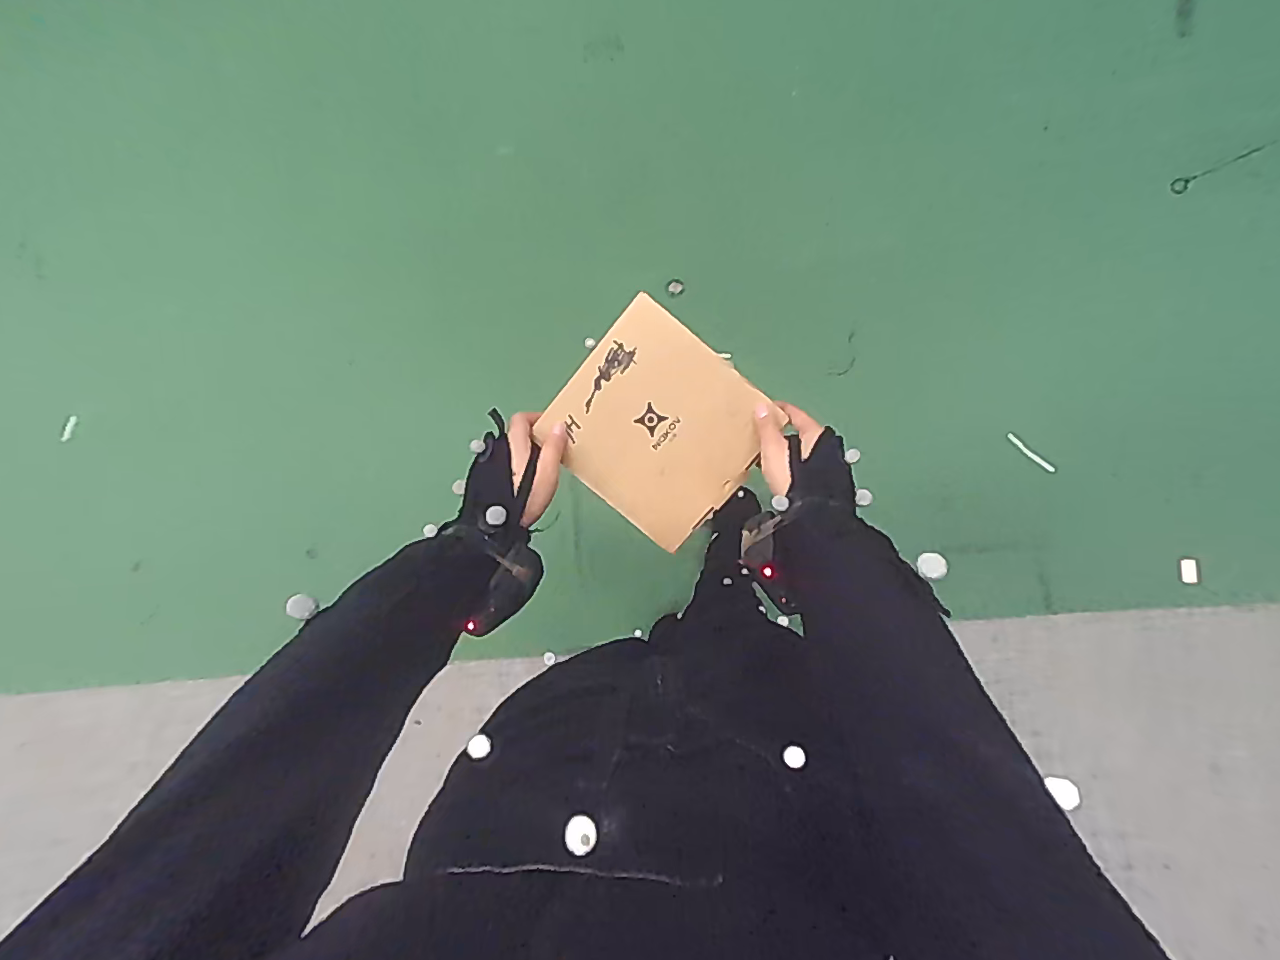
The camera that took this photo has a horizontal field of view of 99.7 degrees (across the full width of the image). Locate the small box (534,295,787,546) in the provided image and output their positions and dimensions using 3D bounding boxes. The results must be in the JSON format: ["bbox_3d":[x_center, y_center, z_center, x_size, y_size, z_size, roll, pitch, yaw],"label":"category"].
[{"bbox_3d":[0.021,-0.062,0.572,0.179,0.176,0.168,40,96,-3],"label":"small box"}]
